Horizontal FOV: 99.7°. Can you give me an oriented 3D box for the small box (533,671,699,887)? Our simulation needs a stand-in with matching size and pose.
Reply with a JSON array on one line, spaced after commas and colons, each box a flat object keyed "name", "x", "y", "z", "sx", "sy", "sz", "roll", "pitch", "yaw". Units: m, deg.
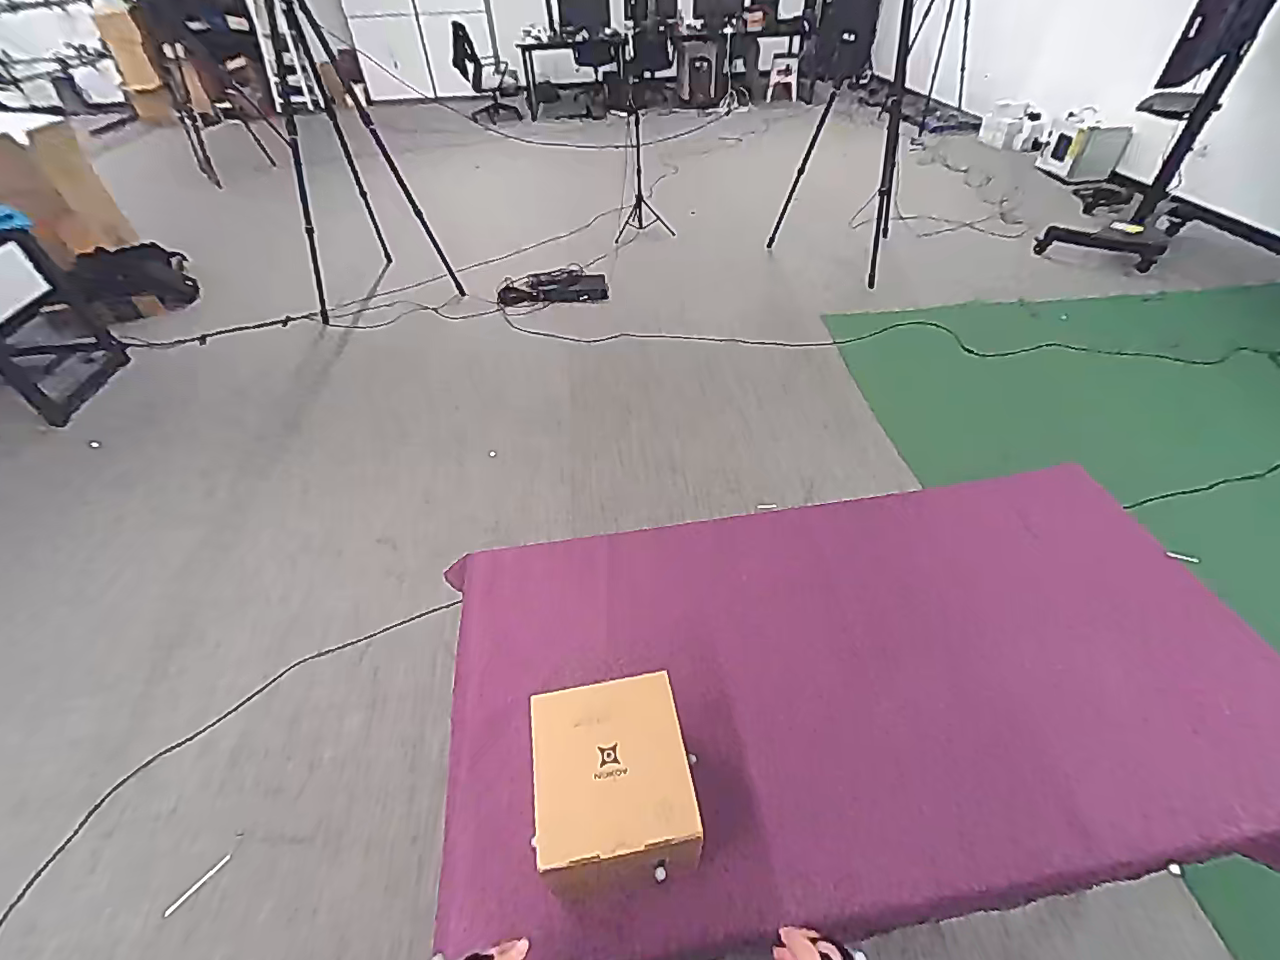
[{"name": "small box", "x": -0.030, "y": 0.357, "z": 0.641, "sx": 0.168, "sy": 0.176, "sz": 0.179, "roll": -7, "pitch": 44, "yaw": -6}]
